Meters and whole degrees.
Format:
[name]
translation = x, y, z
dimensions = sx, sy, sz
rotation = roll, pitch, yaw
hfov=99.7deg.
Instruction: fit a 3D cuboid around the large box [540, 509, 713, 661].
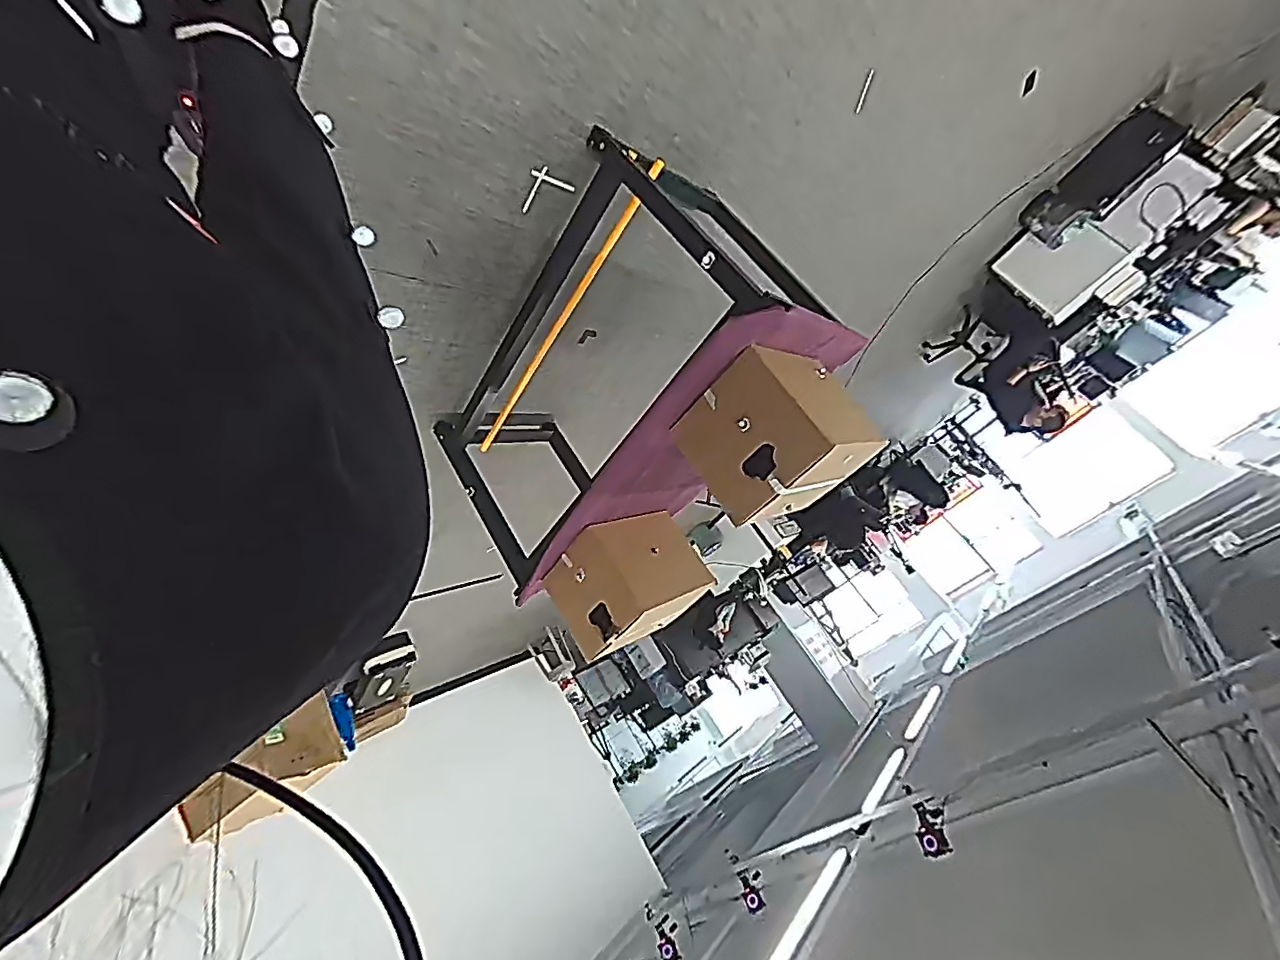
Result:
[large box]
translation = -0.045, 0.326, 1.775
dimensions = 0.408, 0.320, 0.320
rotation = -8, 147, -51
